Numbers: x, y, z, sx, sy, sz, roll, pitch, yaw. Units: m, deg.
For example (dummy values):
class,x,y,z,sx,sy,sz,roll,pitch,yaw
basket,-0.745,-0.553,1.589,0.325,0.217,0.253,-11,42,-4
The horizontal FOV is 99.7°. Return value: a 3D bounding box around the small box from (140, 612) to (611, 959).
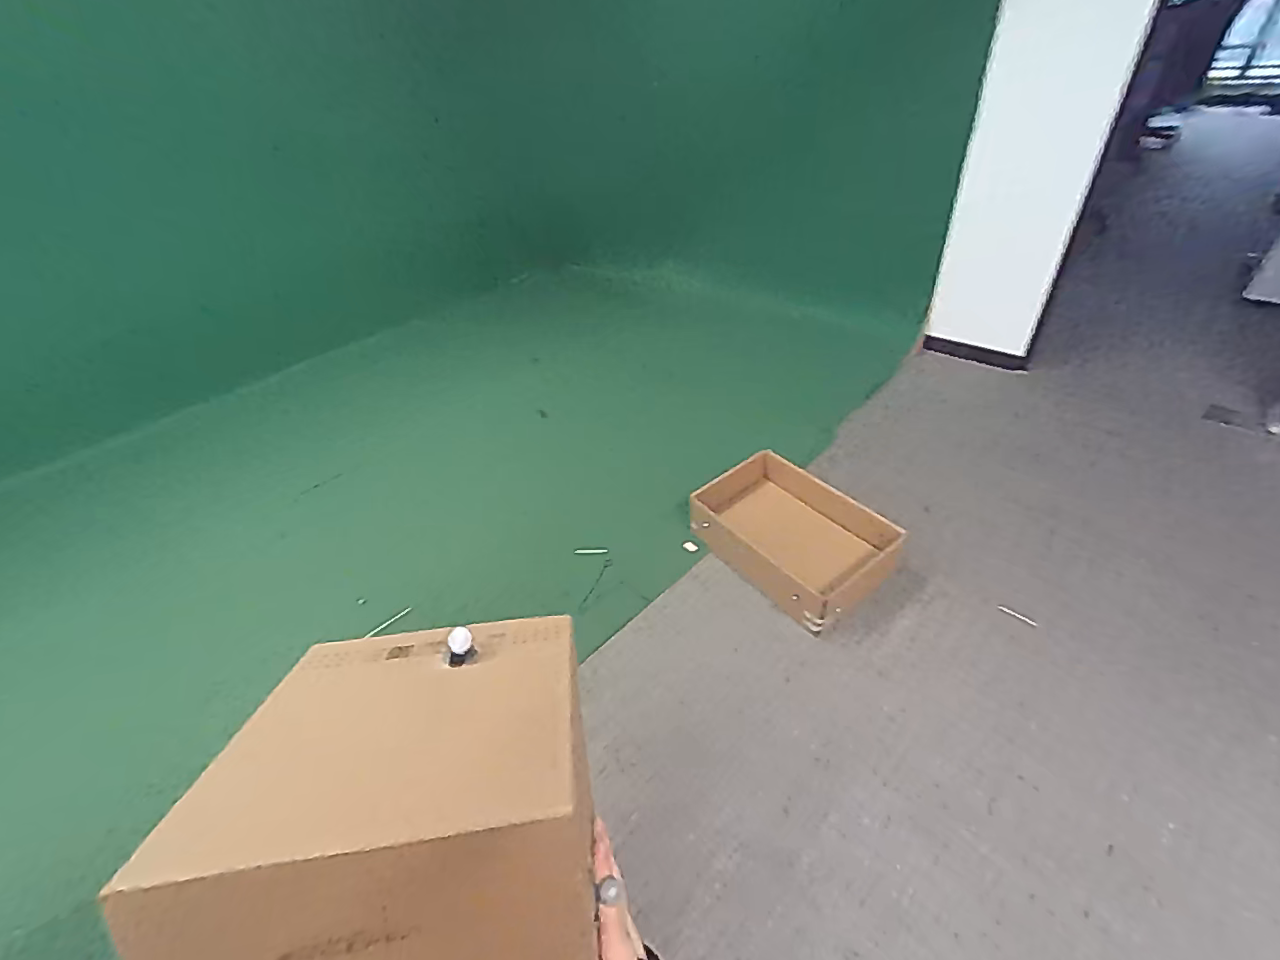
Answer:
class,x,y,z,sx,sy,sz,roll,pitch,yaw
small box,-0.103,0.196,0.298,0.168,0.179,0.176,-5,14,-6
